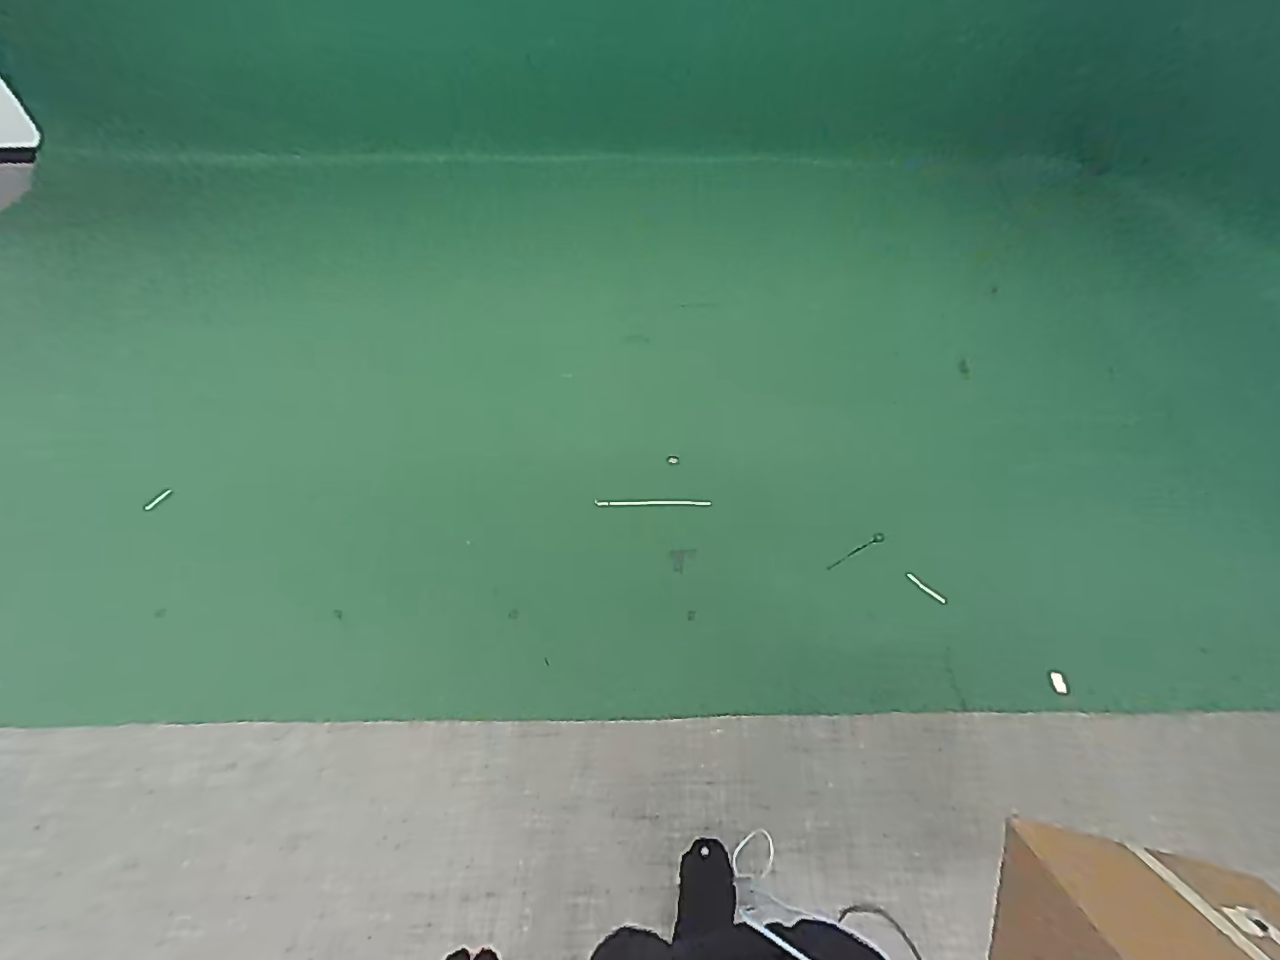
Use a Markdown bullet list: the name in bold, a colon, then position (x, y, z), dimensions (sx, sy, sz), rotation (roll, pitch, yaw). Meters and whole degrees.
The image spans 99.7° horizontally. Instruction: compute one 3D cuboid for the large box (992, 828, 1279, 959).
- **large box**: position (0.624, 0.667, 0.565), dimensions (0.320, 0.408, 0.320), rotation (9, 88, 12)
